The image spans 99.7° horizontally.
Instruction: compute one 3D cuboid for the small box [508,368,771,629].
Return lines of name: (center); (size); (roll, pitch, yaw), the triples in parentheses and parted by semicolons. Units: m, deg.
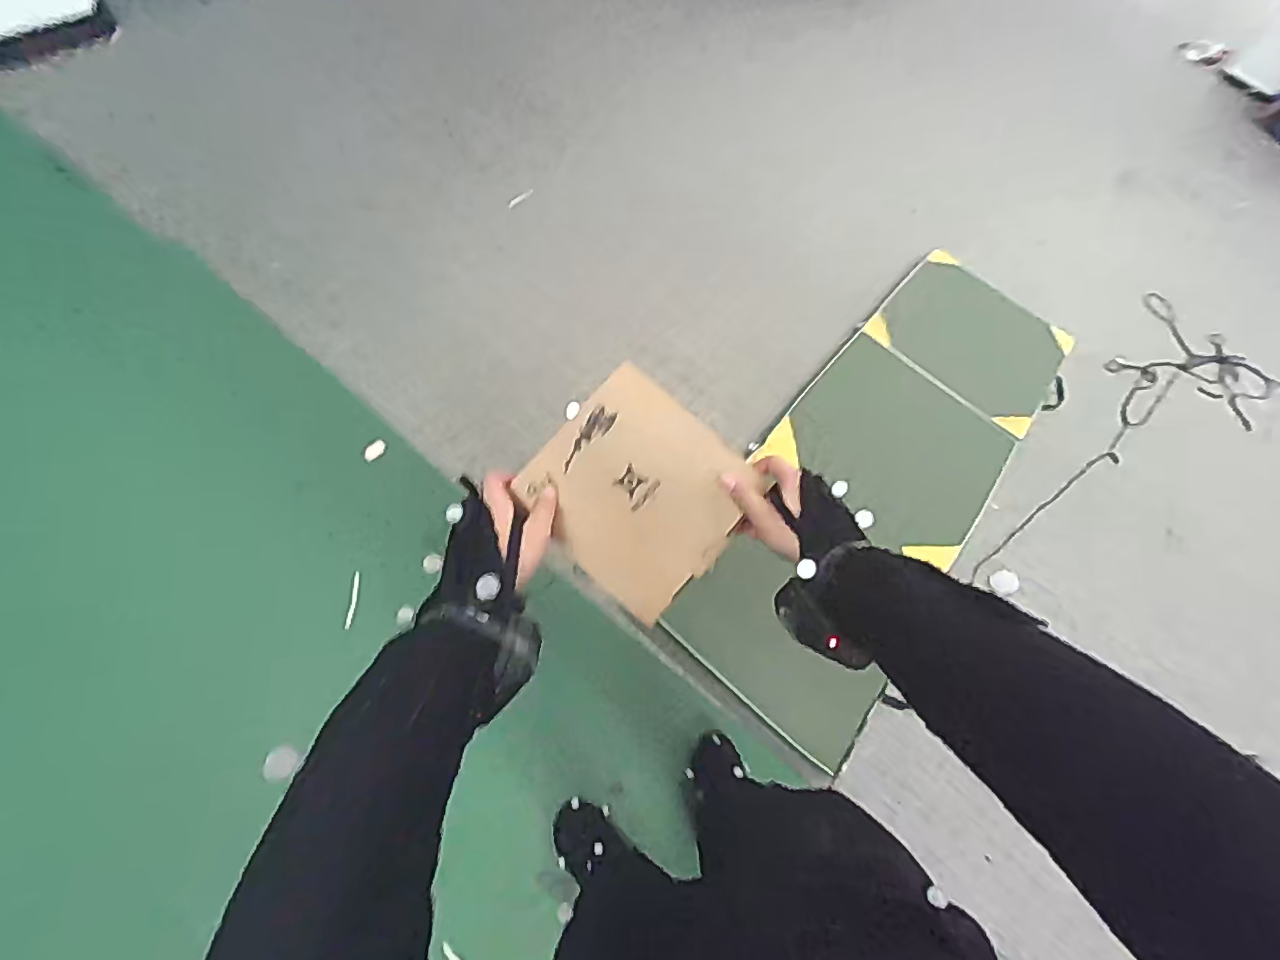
small box: (-0.001, 0.023, 0.552); (0.179, 0.176, 0.168); (42, 82, 5)
